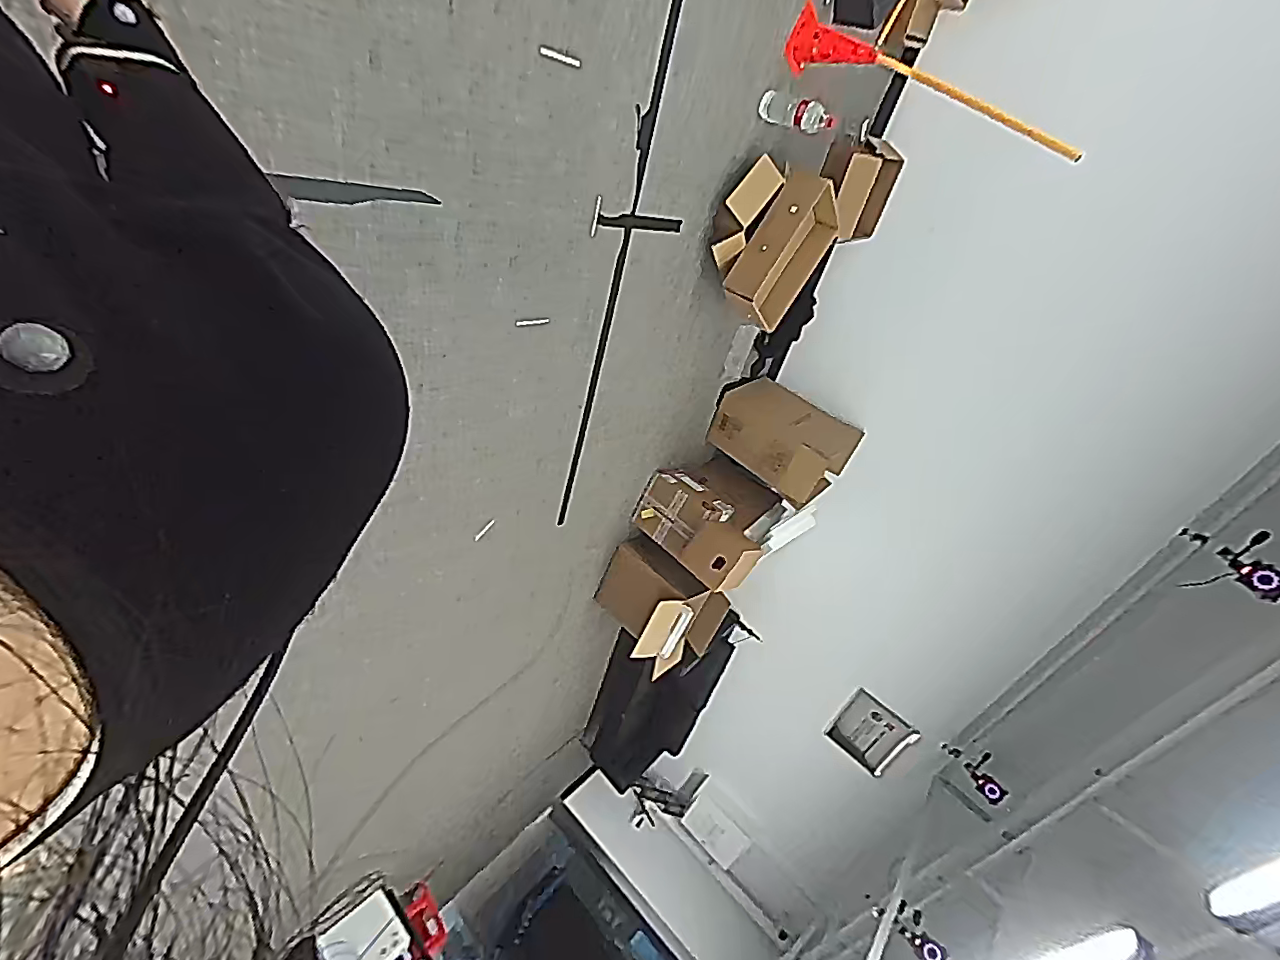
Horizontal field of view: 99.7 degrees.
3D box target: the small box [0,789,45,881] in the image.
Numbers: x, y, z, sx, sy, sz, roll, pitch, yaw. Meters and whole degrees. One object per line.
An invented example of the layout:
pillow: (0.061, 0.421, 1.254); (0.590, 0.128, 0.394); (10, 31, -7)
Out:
small box: (-1.798, 0.995, 1.486); (0.168, 0.176, 0.179); (-26, 144, -44)
